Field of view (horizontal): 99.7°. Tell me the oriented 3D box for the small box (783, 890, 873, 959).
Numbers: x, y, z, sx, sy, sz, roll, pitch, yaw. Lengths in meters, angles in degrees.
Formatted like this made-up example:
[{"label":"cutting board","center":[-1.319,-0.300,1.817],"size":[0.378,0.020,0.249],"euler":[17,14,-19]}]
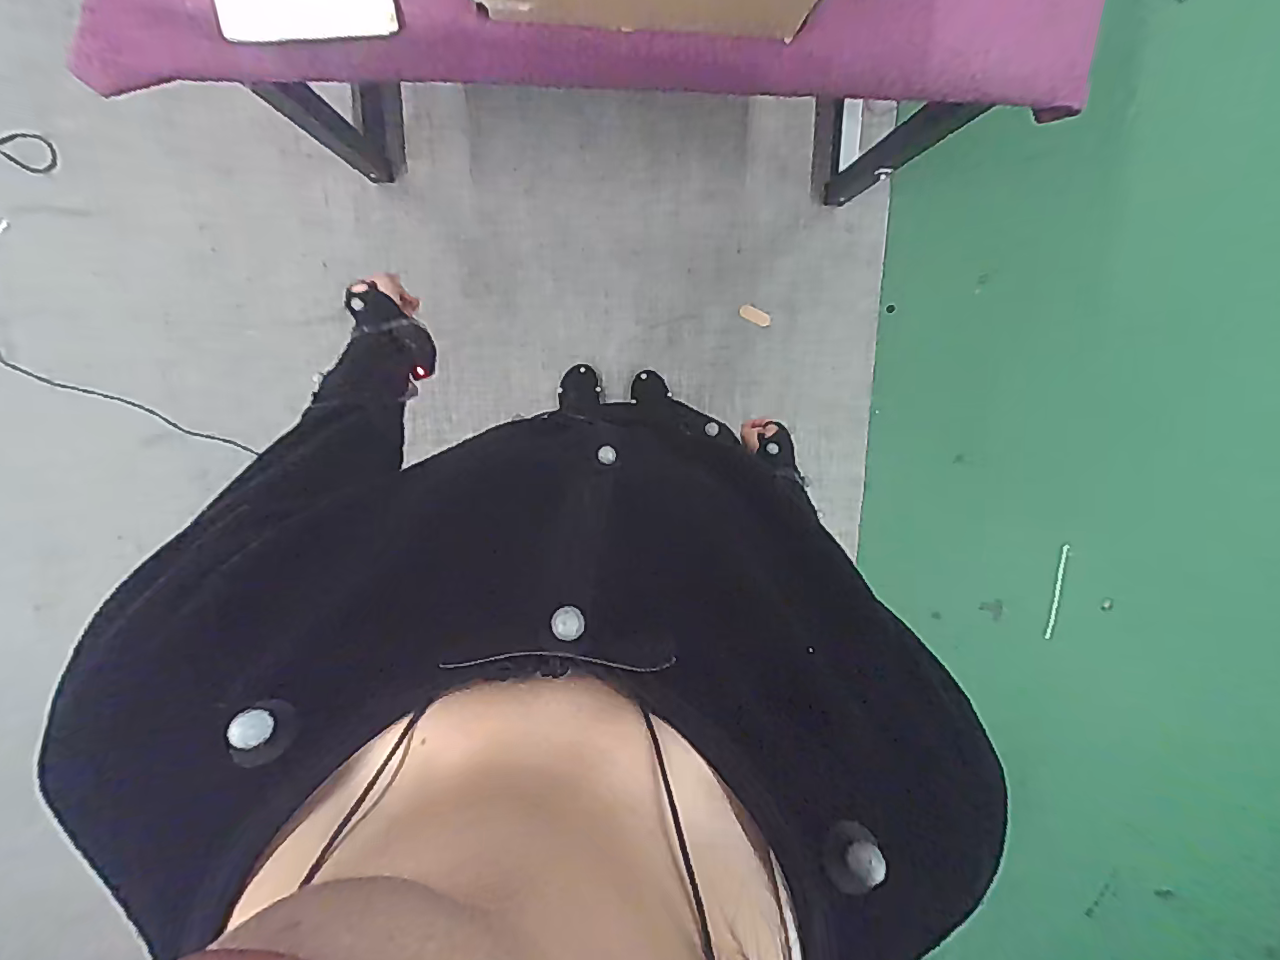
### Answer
[{"label":"small box","center":[0.495,1.227,1.421],"size":[0.179,0.176,0.168],"euler":[-11,101,-1]}]
